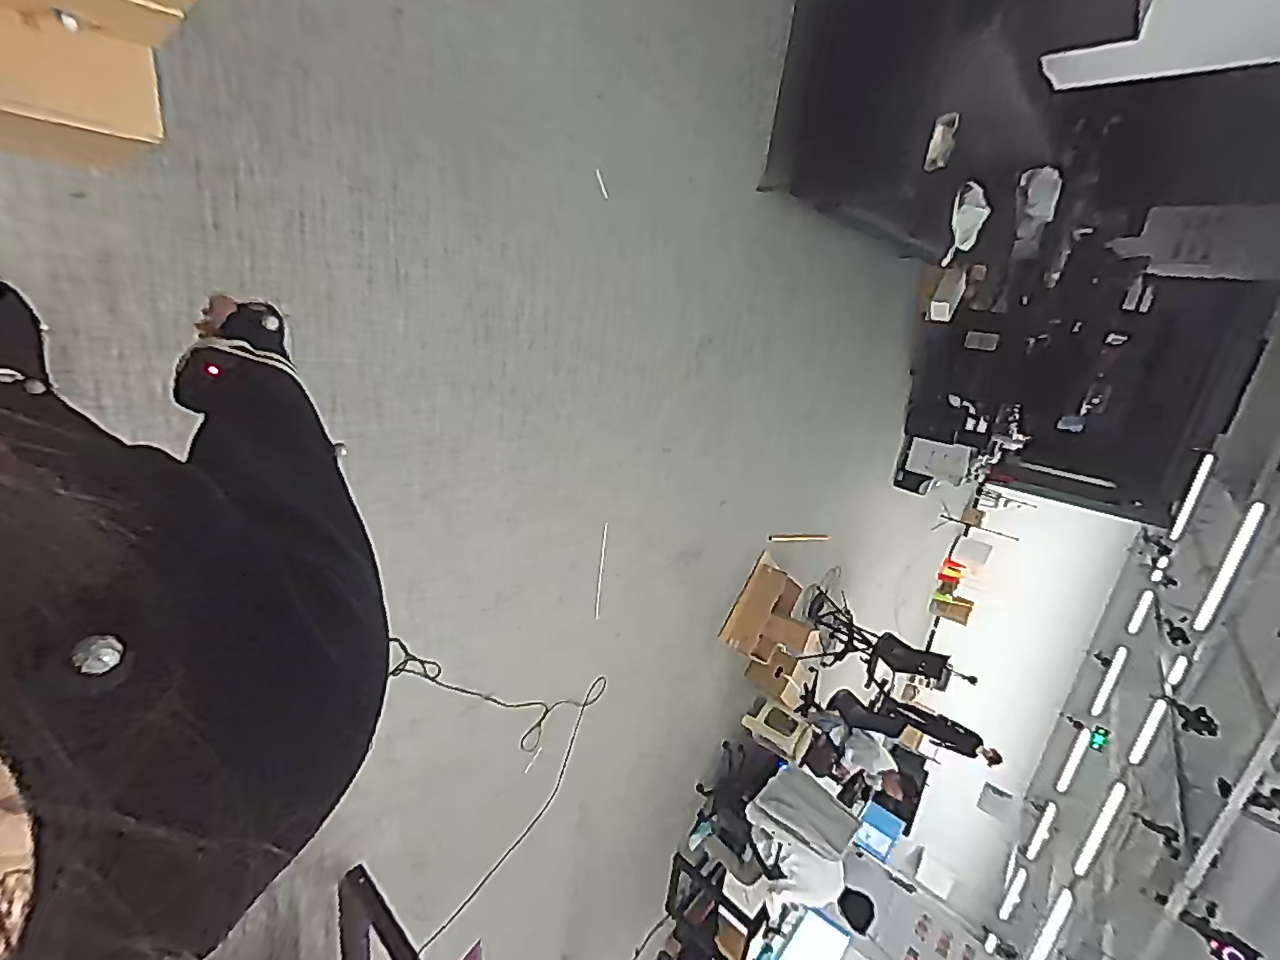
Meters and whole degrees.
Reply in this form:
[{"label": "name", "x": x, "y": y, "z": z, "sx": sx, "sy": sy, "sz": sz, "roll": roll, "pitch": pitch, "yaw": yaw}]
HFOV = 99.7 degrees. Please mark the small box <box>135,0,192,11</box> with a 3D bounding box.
[{"label": "small box", "x": -0.498, "y": -0.551, "z": 0.466, "sx": 0.168, "sy": 0.176, "sz": 0.179, "roll": -18, "pitch": 120, "yaw": -43}]
